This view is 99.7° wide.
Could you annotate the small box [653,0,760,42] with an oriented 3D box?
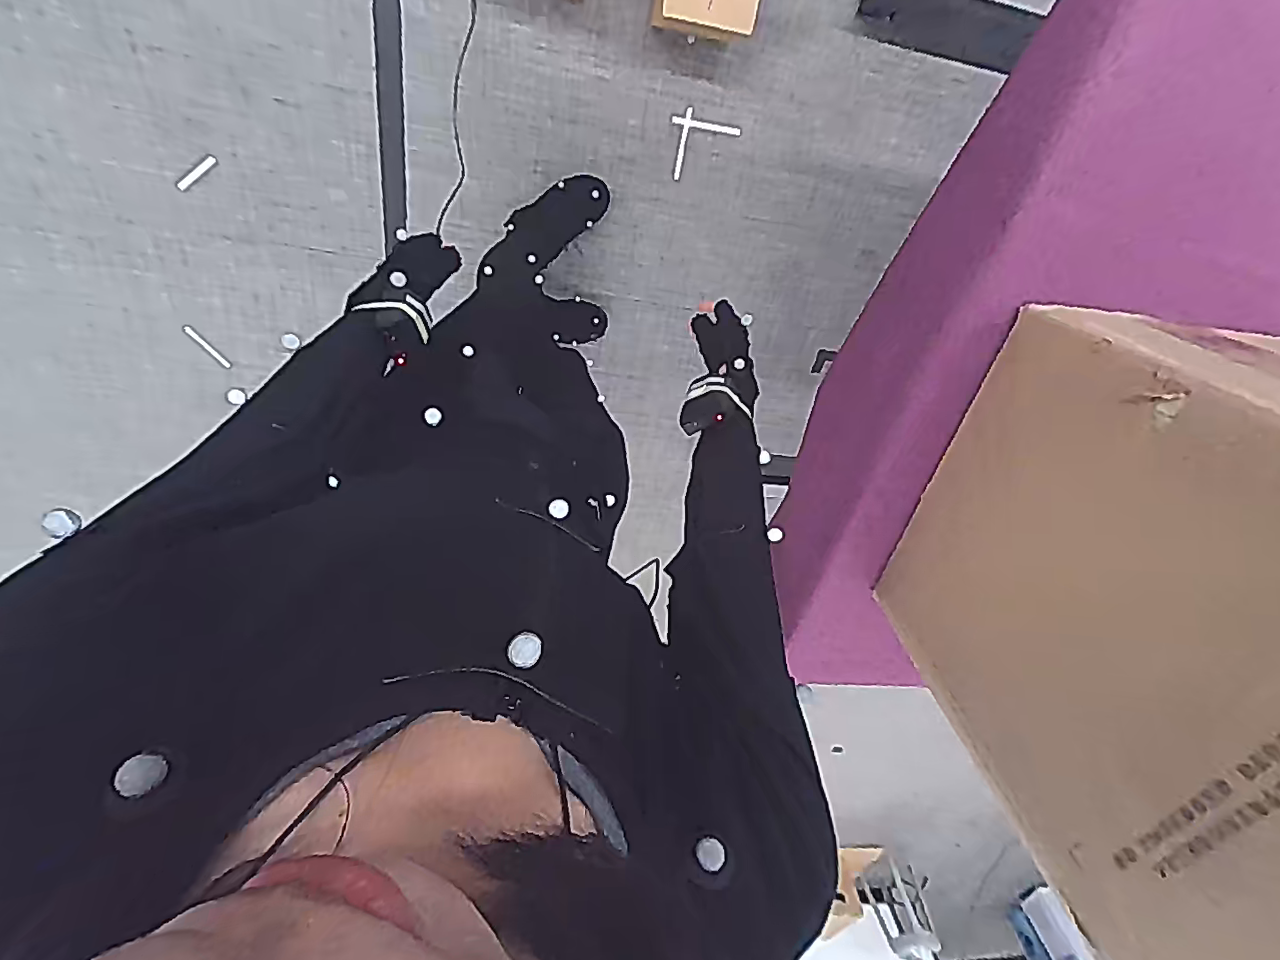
[{"bbox_3d":[0.124,-0.904,0.951,0.168,0.176,0.179,5,124,-10],"label":"small box"}]
